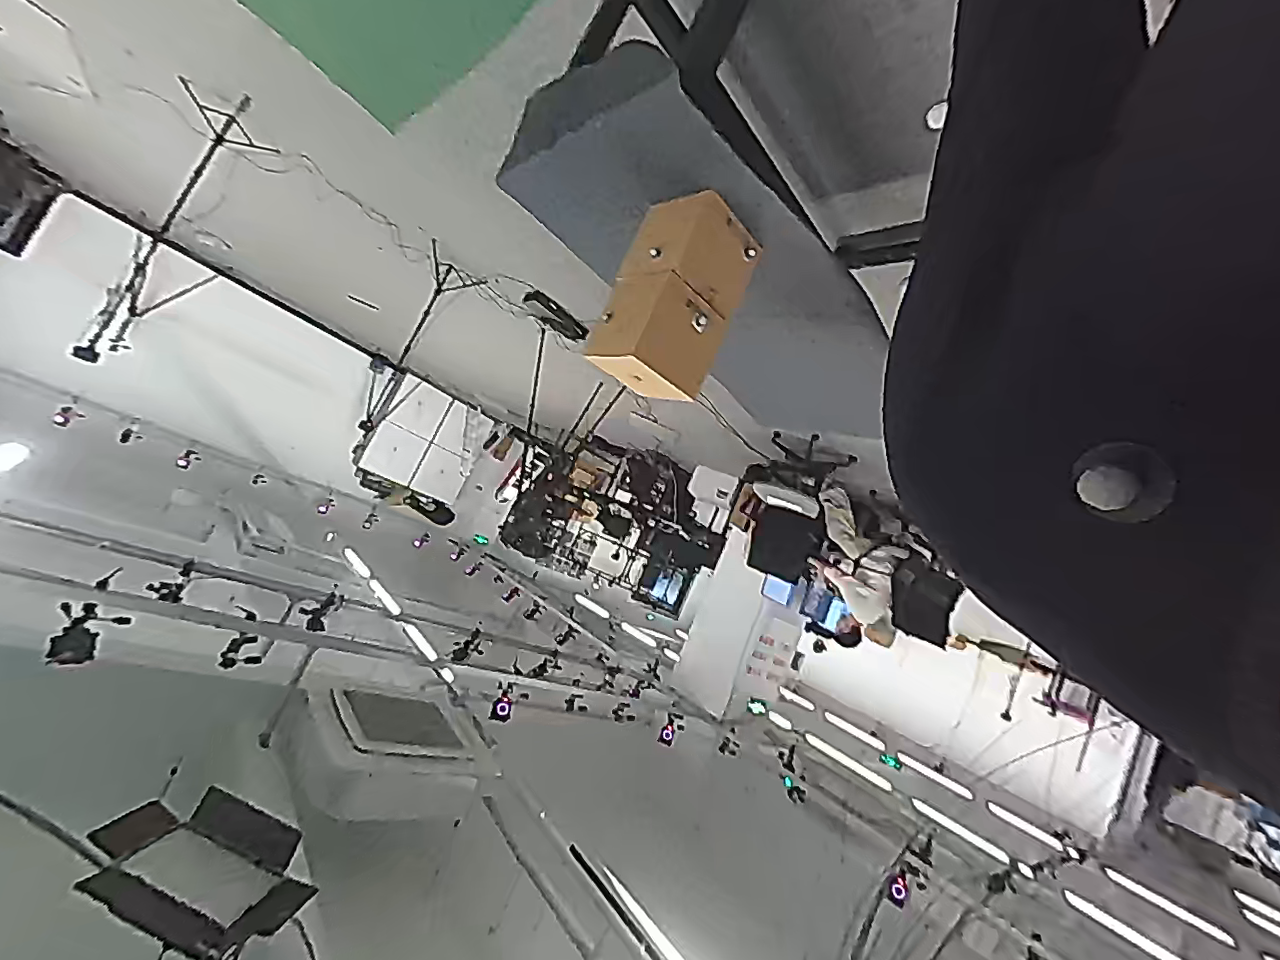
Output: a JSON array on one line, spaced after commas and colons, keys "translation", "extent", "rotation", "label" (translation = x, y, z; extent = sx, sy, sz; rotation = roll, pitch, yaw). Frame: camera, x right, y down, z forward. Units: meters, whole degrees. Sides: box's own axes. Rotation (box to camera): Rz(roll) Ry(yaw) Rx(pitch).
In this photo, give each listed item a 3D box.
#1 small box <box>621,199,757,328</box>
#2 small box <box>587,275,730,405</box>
[{"translation": [0.101, -0.406, 1.032], "extent": [0.168, 0.176, 0.179], "rotation": [30, 173, -40], "label": "small box"}, {"translation": [0.037, -0.258, 1.011], "extent": [0.168, 0.176, 0.179], "rotation": [28, 173, -37], "label": "small box"}]
